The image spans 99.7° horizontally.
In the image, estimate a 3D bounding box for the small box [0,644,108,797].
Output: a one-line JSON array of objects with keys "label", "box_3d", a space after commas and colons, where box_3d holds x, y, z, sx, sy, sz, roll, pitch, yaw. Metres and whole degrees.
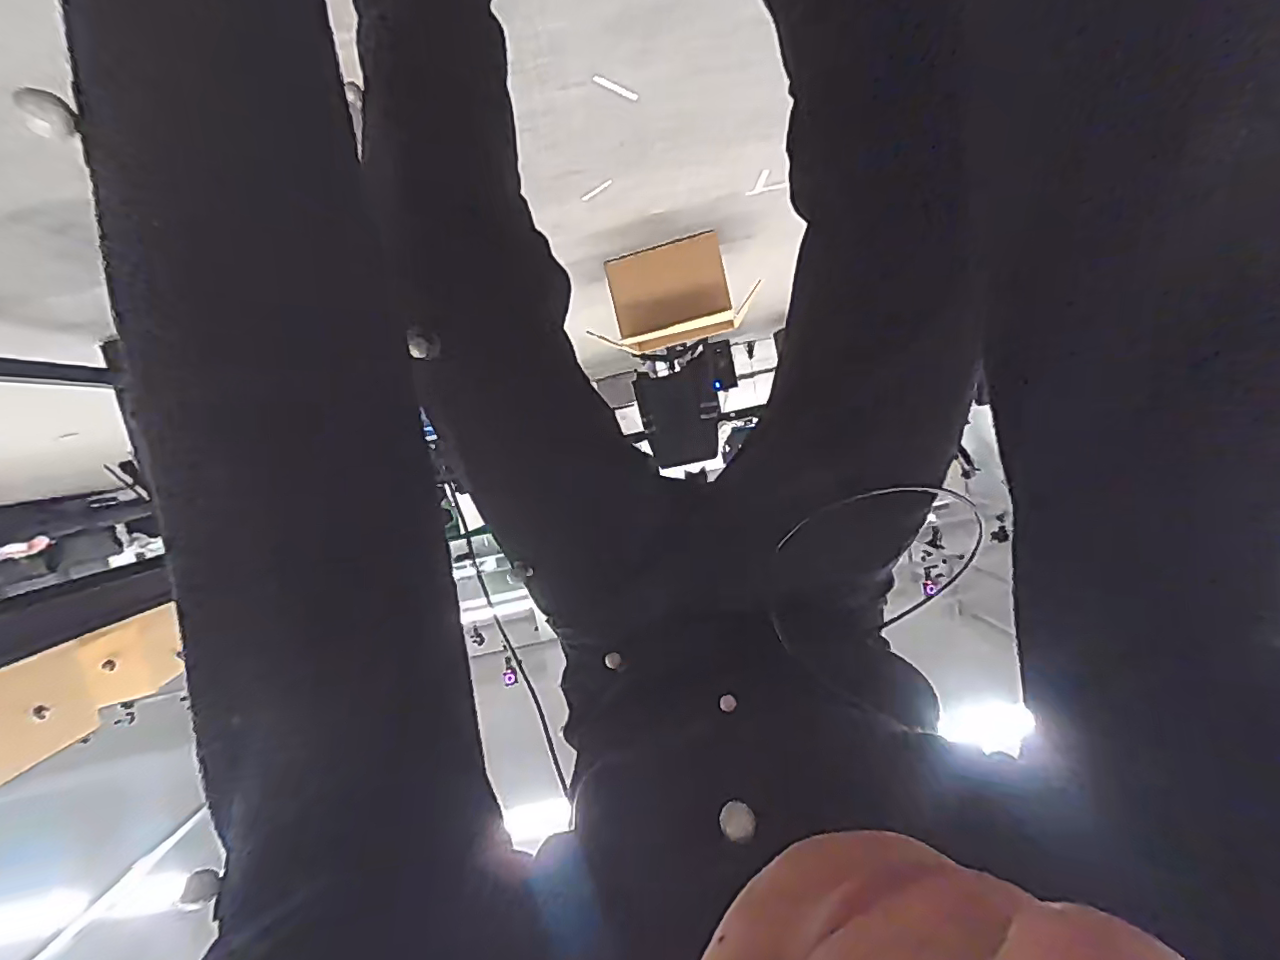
[{"label": "small box", "box_3d": [-1.004, 0.378, 0.832, 0.168, 0.176, 0.179, -13, -172, -1]}]

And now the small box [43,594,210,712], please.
[{"label": "small box", "box_3d": [-1.044, 0.353, 1.109, 0.168, 0.176, 0.179, -14, -173, -12]}]
